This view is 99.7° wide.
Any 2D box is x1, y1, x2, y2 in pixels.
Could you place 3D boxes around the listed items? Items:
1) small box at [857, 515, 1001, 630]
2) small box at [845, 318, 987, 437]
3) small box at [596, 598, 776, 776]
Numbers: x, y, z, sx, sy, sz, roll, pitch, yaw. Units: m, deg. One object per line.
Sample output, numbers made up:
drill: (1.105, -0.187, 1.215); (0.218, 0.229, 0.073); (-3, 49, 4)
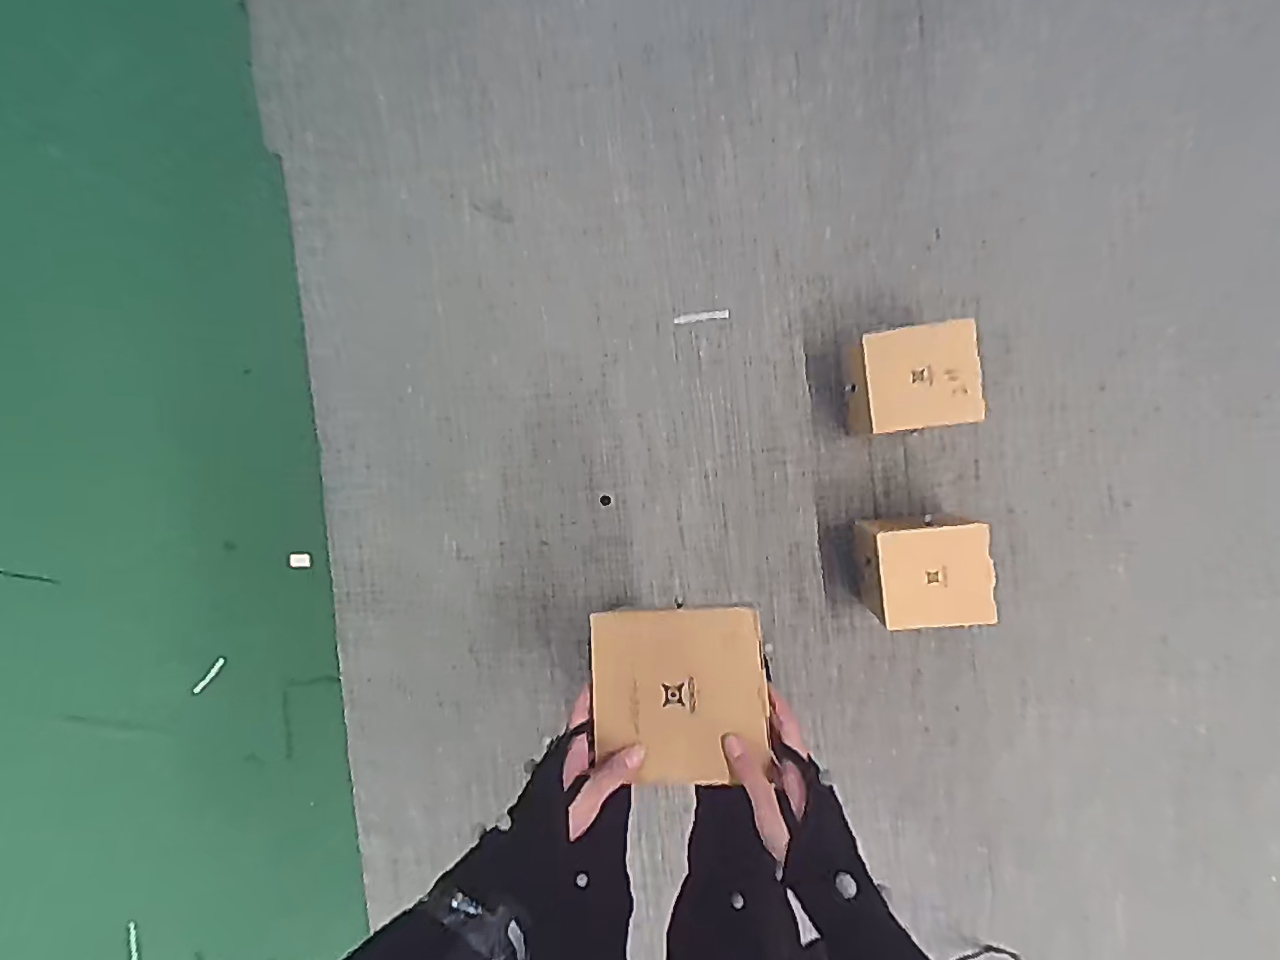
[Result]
small box: (0.494, 0.156, 0.953); (0.179, 0.176, 0.168); (-7, 91, 8)
small box: (0.467, -0.168, 0.943); (0.179, 0.176, 0.168); (-6, 91, 8)
small box: (0.054, 0.221, 0.617); (0.179, 0.176, 0.168); (-4, 77, 9)
